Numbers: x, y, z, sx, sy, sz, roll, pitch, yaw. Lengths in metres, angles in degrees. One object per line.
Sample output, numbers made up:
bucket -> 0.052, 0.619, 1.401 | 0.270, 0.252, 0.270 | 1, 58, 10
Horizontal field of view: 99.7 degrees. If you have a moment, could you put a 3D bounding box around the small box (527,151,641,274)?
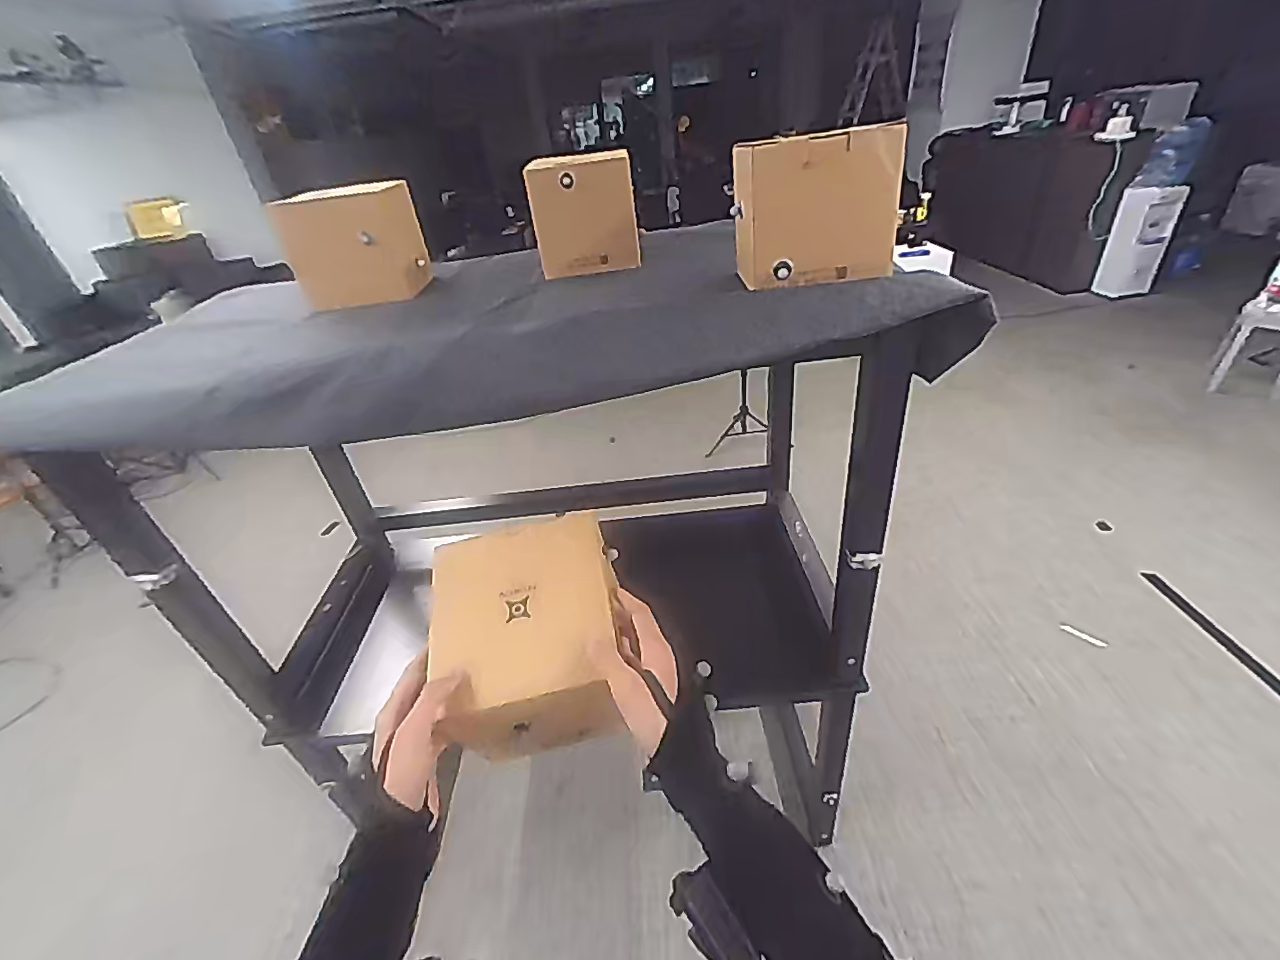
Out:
small box -> -0.090, -0.468, 0.947 | 0.168, 0.176, 0.179 | -7, 33, 2

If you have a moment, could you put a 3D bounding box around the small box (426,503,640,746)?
small box -> -0.101, 0.155, 0.553 | 0.168, 0.176, 0.179 | -13, 50, -2

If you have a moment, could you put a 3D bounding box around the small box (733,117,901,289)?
small box -> 0.215, -0.351, 0.698 | 0.168, 0.176, 0.179 | -5, 30, 5
